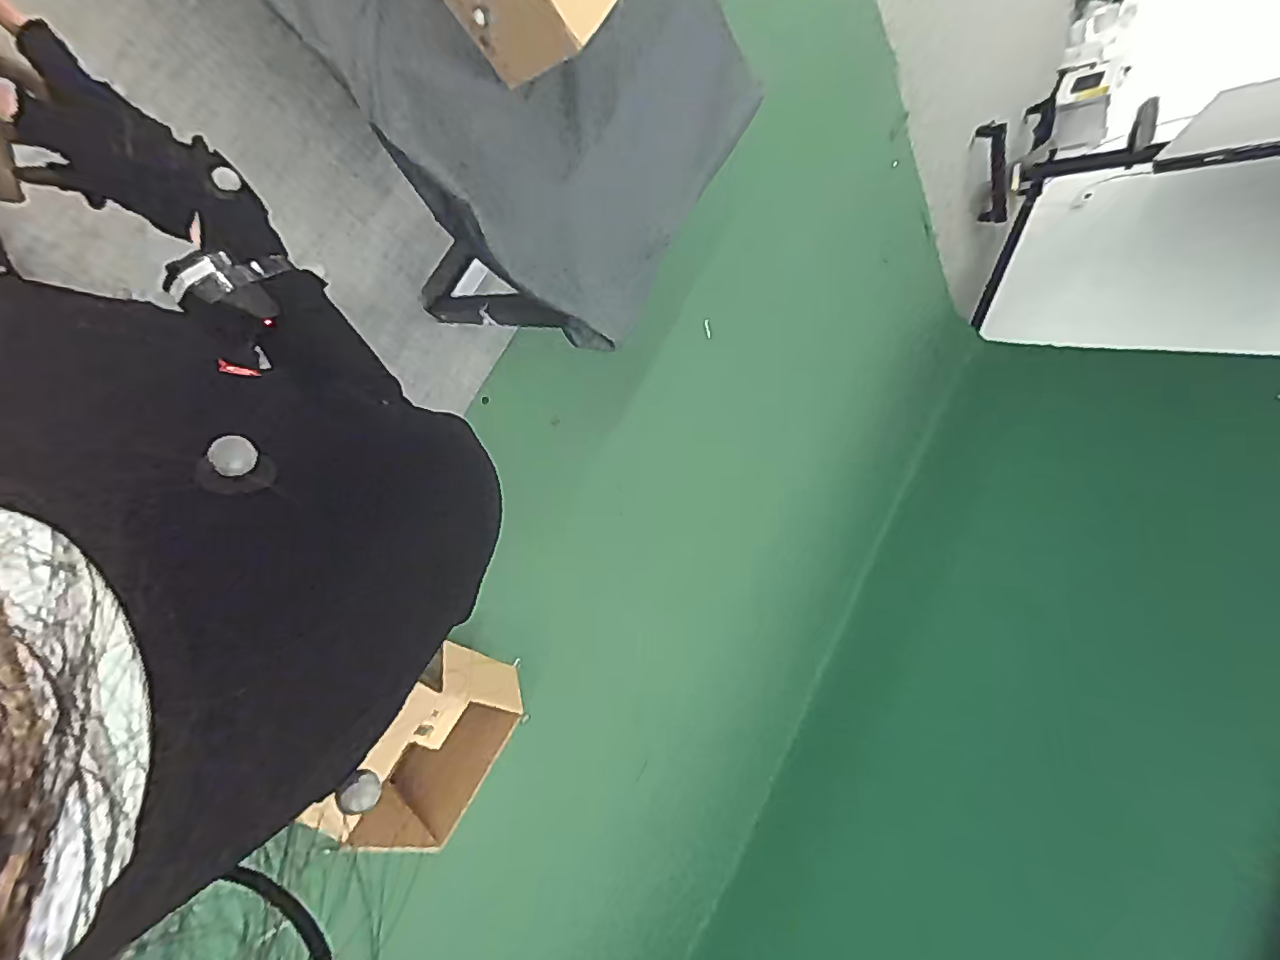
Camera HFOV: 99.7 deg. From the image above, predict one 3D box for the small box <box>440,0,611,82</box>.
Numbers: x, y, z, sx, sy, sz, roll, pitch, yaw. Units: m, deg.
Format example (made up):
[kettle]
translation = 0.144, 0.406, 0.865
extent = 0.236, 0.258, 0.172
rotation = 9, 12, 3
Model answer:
[small box]
translation = -0.136, -0.639, 0.657
extent = 0.168, 0.176, 0.179
rotation = 40, 75, -44
